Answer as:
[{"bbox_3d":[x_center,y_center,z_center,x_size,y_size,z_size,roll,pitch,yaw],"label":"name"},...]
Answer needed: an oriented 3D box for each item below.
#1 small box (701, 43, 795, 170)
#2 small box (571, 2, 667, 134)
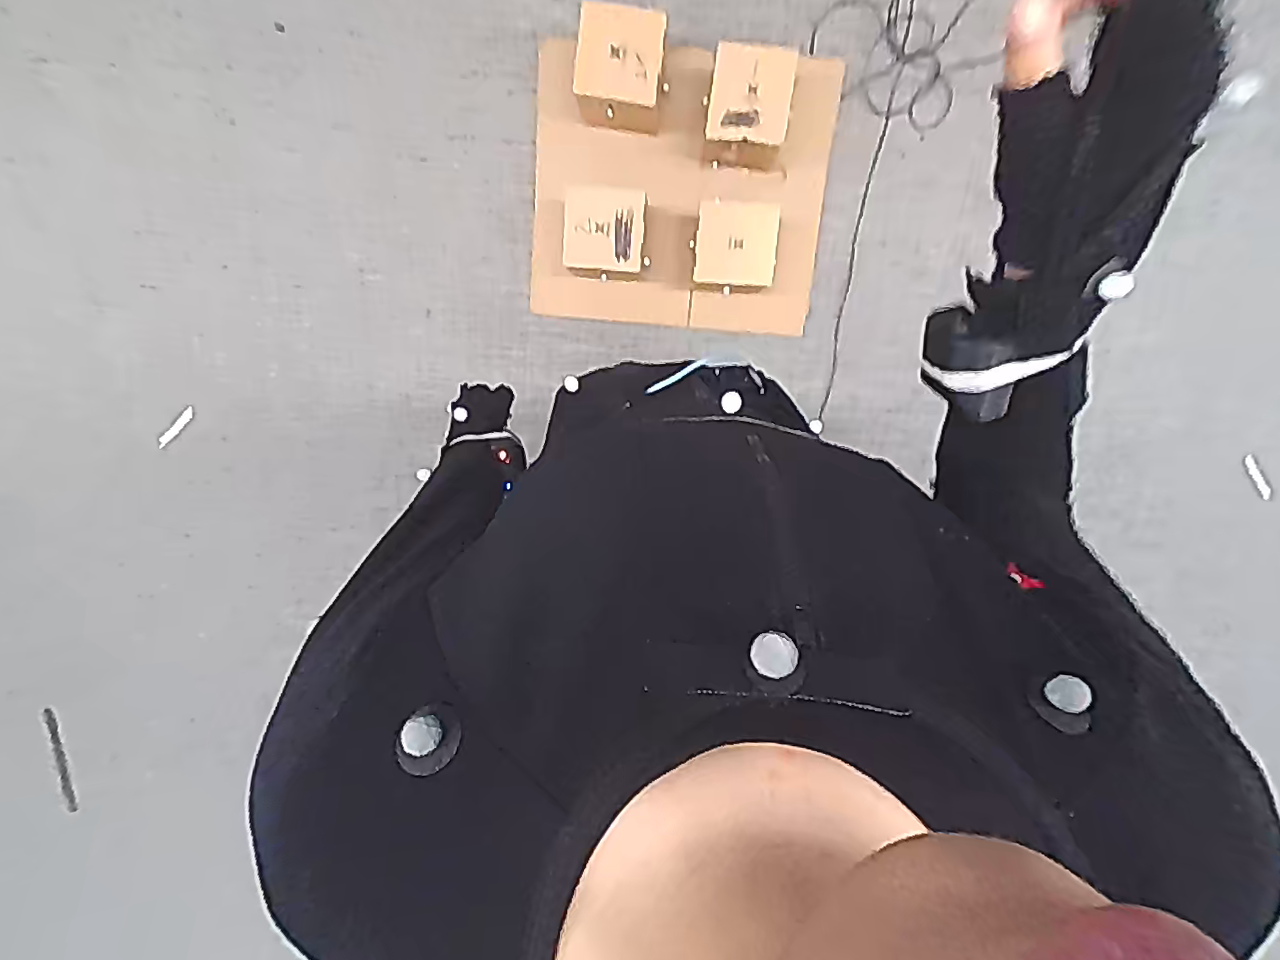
[{"bbox_3d":[0.228,-0.807,1.188,0.168,0.176,0.179,9,103,2],"label":"small box"},{"bbox_3d":[-0.041,-0.884,1.176,0.179,0.176,0.168,10,104,0],"label":"small box"}]
